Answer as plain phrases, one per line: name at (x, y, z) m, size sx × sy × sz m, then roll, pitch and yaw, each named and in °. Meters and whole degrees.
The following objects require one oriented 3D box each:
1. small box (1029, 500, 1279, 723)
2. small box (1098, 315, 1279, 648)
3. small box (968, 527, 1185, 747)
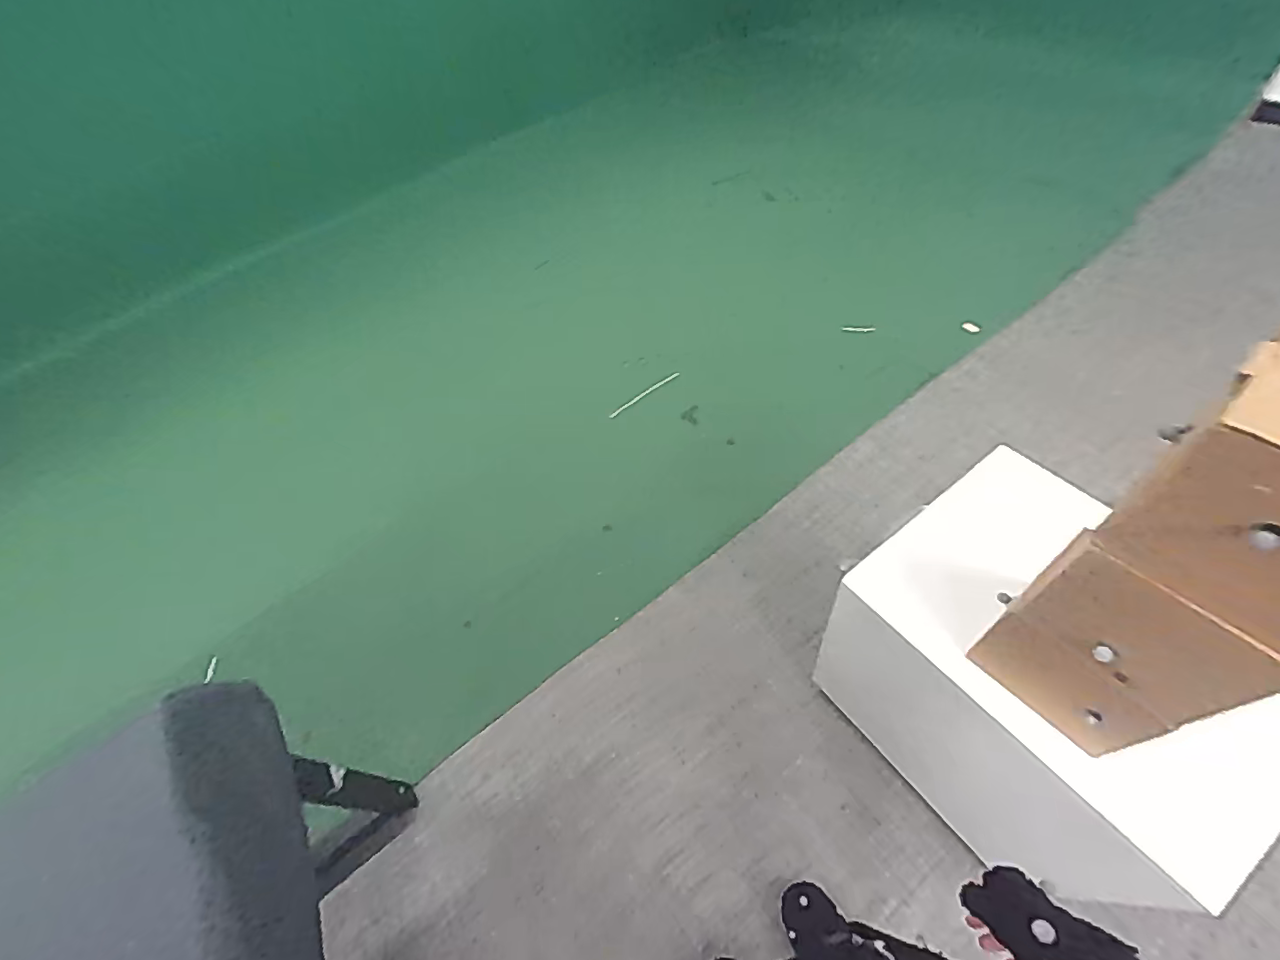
small box at (0.531, 0.100, 0.529) m, size 0.179 × 0.176 × 0.168 m, roll -38°, pitch 57°, yaw -18°
small box at (0.501, 0.006, 0.399) m, size 0.168 × 0.176 × 0.179 m, roll -38°, pitch 56°, yaw -16°
small box at (0.550, 0.197, 0.660) m, size 0.168 × 0.176 × 0.179 m, roll -37°, pitch 55°, yaw -16°
